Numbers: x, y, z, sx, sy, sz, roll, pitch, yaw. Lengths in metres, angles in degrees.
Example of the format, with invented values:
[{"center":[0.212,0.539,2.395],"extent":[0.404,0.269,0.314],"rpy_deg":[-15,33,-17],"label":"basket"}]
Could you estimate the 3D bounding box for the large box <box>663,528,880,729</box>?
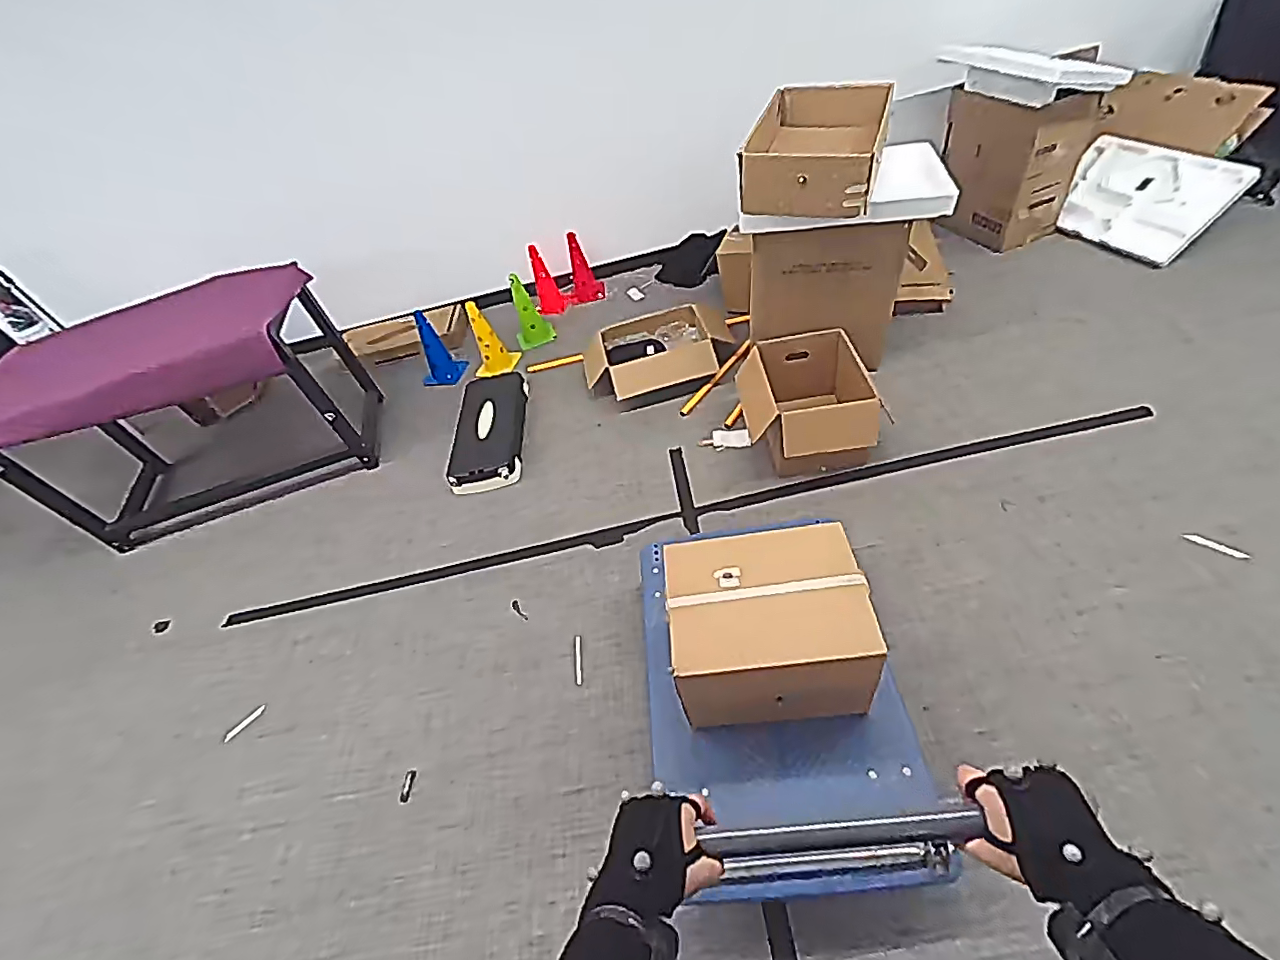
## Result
[{"center":[0.285,0.352,1.251],"extent":[0.408,0.320,0.320],"rpy_deg":[-10,46,7],"label":"large box"}]
